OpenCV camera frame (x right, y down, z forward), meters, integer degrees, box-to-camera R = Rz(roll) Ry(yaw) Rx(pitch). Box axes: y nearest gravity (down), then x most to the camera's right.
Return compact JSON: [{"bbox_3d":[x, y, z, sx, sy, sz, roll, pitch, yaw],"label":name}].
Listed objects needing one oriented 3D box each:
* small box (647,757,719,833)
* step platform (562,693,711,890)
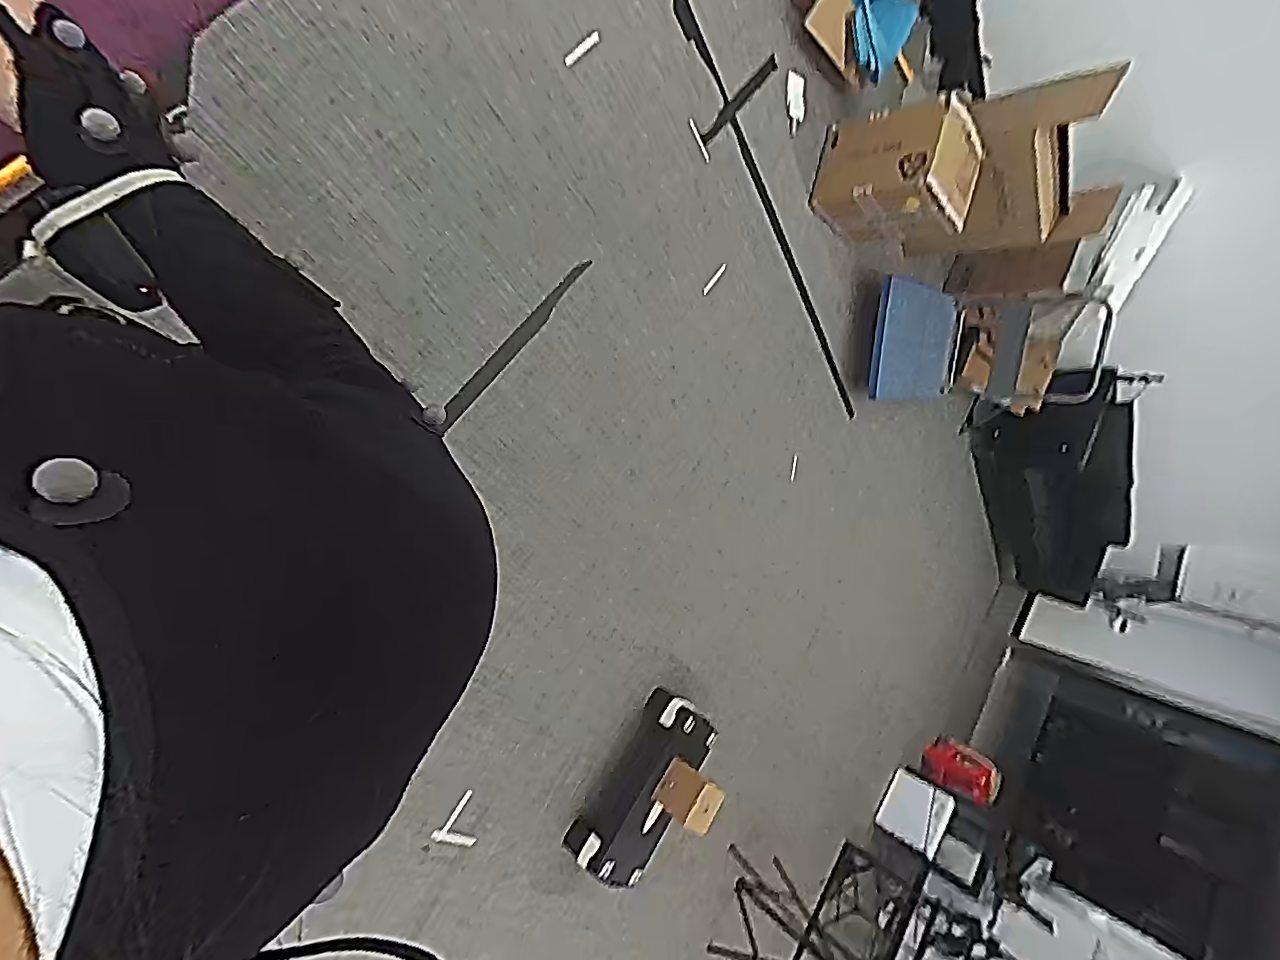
[{"bbox_3d":[0.160,1.169,2.016,0.168,0.176,0.179,-54,130,-20],"label":"small box"},{"bbox_3d":[0.007,1.214,2.126,0.684,0.204,0.286,-56,131,-19],"label":"step platform"}]
